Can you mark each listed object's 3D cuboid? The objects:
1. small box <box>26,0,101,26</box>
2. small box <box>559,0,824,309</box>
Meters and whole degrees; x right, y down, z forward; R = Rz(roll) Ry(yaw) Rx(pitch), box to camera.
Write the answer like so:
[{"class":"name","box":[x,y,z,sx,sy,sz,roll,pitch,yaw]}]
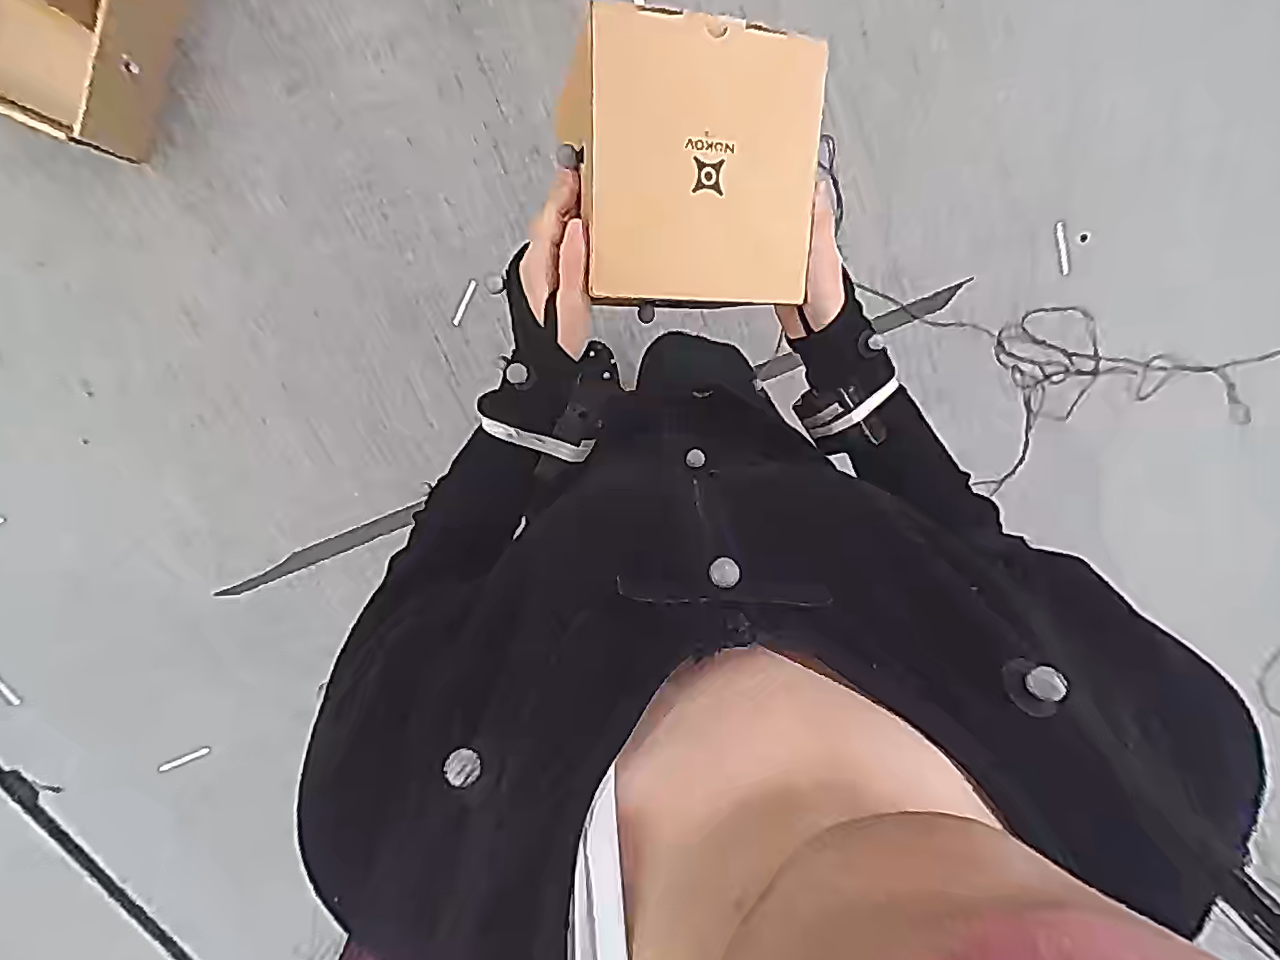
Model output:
[{"class":"small box","box":[-1.149,-0.994,0.991,0.179,0.176,0.168,22,102,-12]},{"class":"small box","box":[0.026,-0.238,0.449,0.168,0.176,0.179,-3,105,-15]}]
